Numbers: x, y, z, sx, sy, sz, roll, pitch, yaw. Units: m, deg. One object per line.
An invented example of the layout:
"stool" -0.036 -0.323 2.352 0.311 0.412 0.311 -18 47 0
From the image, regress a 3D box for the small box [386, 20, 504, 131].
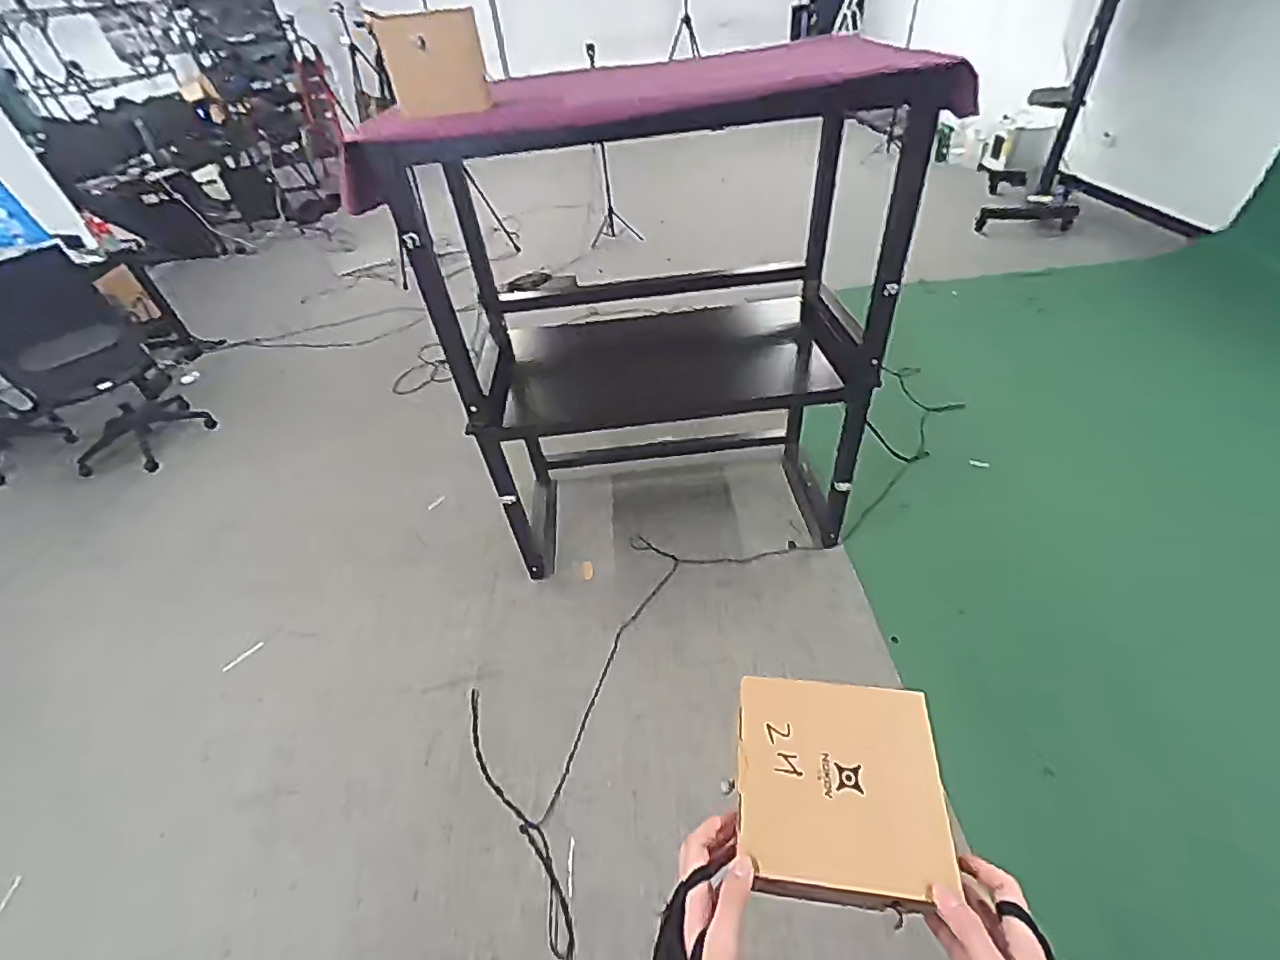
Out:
"small box" -0.401 -0.853 1.142 0.179 0.176 0.168 -8 42 -2

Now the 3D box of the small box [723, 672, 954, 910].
"small box" 0.176 0.310 0.538 0.179 0.176 0.168 2 49 10
